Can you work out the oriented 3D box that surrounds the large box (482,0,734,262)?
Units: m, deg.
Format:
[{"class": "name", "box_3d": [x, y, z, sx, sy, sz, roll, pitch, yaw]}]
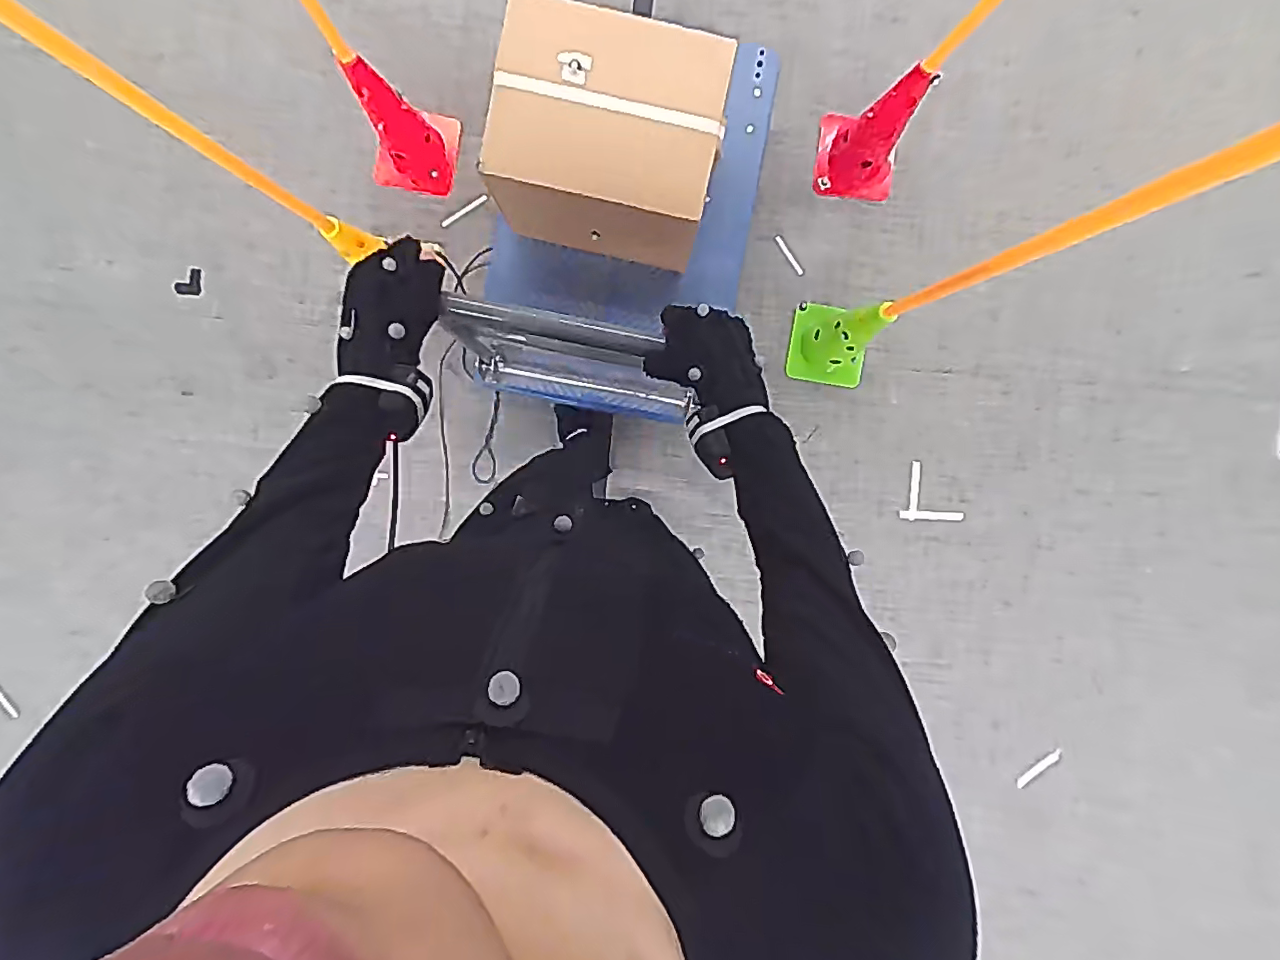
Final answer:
[{"class": "large box", "box_3d": [-0.055, -0.671, 1.092, 0.408, 0.320, 0.320, 12, 95, -1]}]

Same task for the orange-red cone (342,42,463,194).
[{"class": "orange-red cone", "box_3d": [-0.567, -0.848, 1.228, 0.198, 0.360, 0.199, 12, 93, -2]}]

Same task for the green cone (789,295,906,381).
[{"class": "green cone", "box_3d": [0.505, -0.359, 1.257, 0.202, 0.368, 0.200, 9, 94, -2]}]

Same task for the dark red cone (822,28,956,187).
[{"class": "dark red cone", "box_3d": [0.567, -0.837, 1.204, 0.201, 0.394, 0.202, 5, 95, -2]}]
